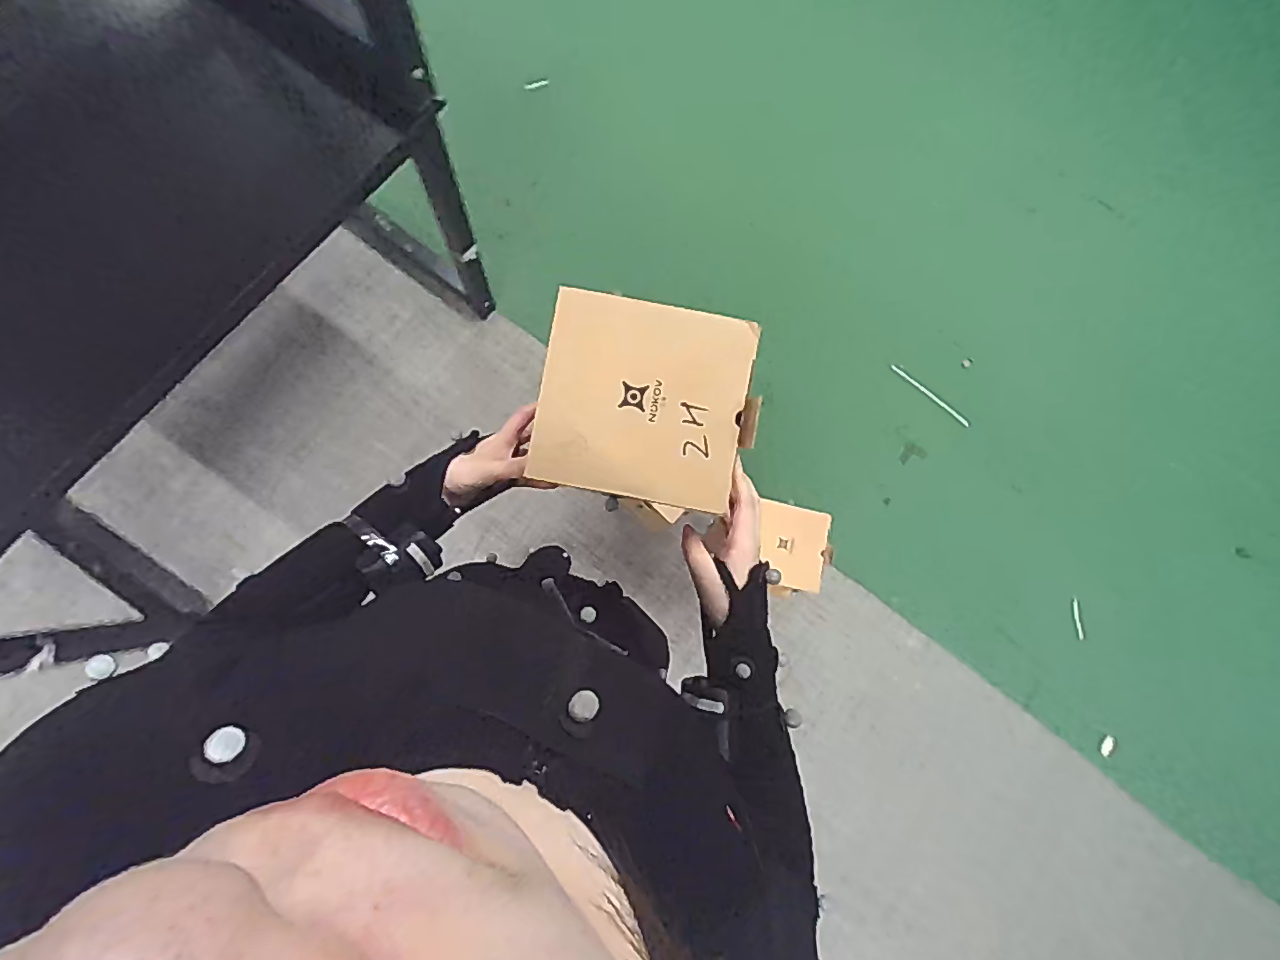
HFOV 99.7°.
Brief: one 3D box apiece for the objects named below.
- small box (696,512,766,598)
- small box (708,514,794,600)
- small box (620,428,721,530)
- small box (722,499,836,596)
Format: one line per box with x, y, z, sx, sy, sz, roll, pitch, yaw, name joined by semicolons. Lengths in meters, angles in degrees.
0.275;0.206;1.477;0.179;0.176;0.168;30;79;-2;small box
0.280;0.184;1.316;0.179;0.176;0.168;18;81;-4;small box
0.066;0.006;1.318;0.168;0.176;0.179;44;79;2;small box
0.288;0.147;1.157;0.179;0.176;0.168;14;81;-5;small box
